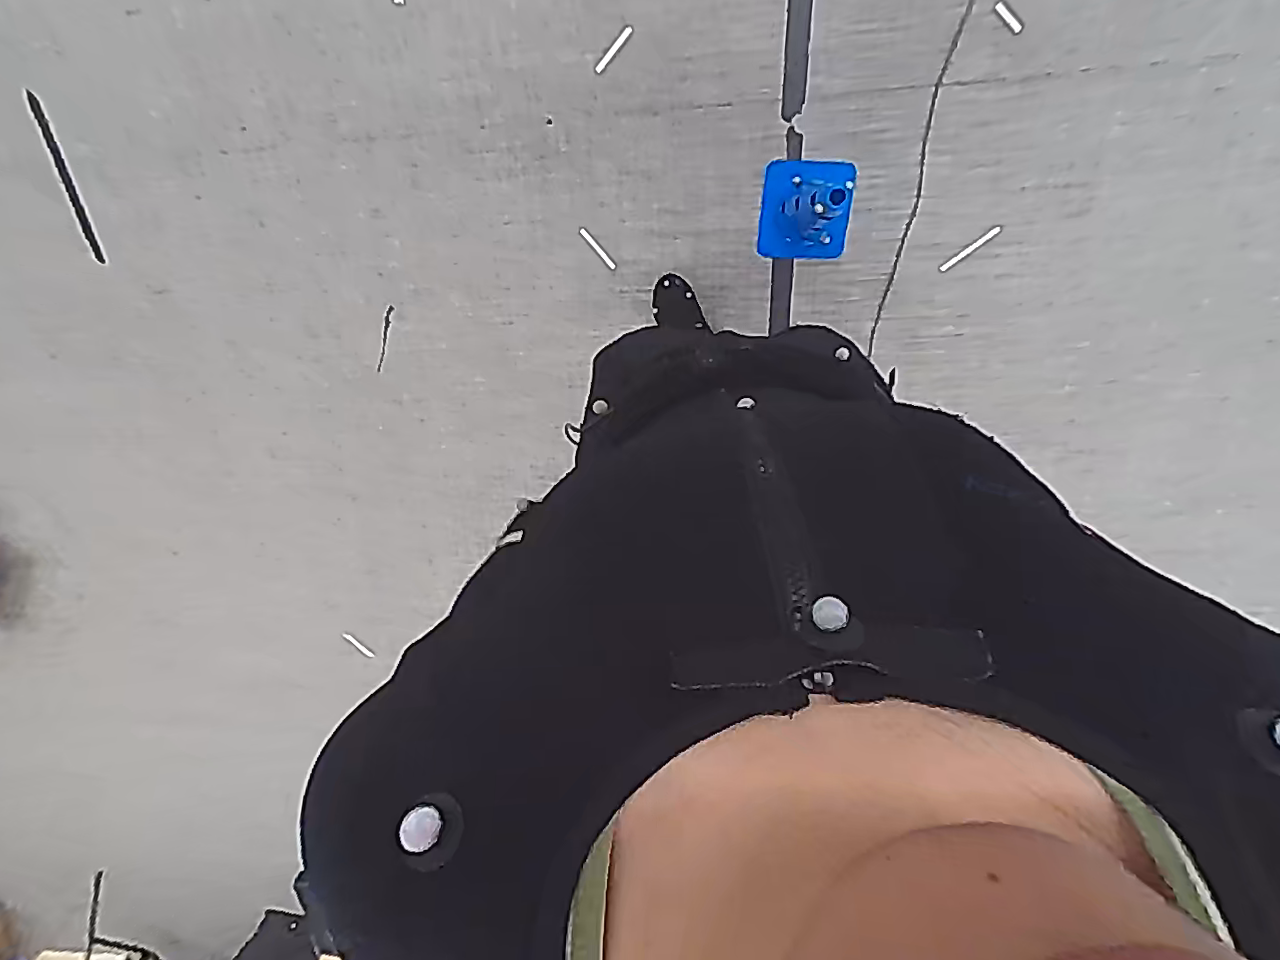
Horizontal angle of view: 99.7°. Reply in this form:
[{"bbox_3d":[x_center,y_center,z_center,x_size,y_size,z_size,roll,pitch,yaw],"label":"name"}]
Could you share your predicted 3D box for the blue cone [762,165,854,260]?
[{"bbox_3d":[0.357,-0.538,1.067,0.193,0.380,0.192,3,113,5],"label":"blue cone"}]
